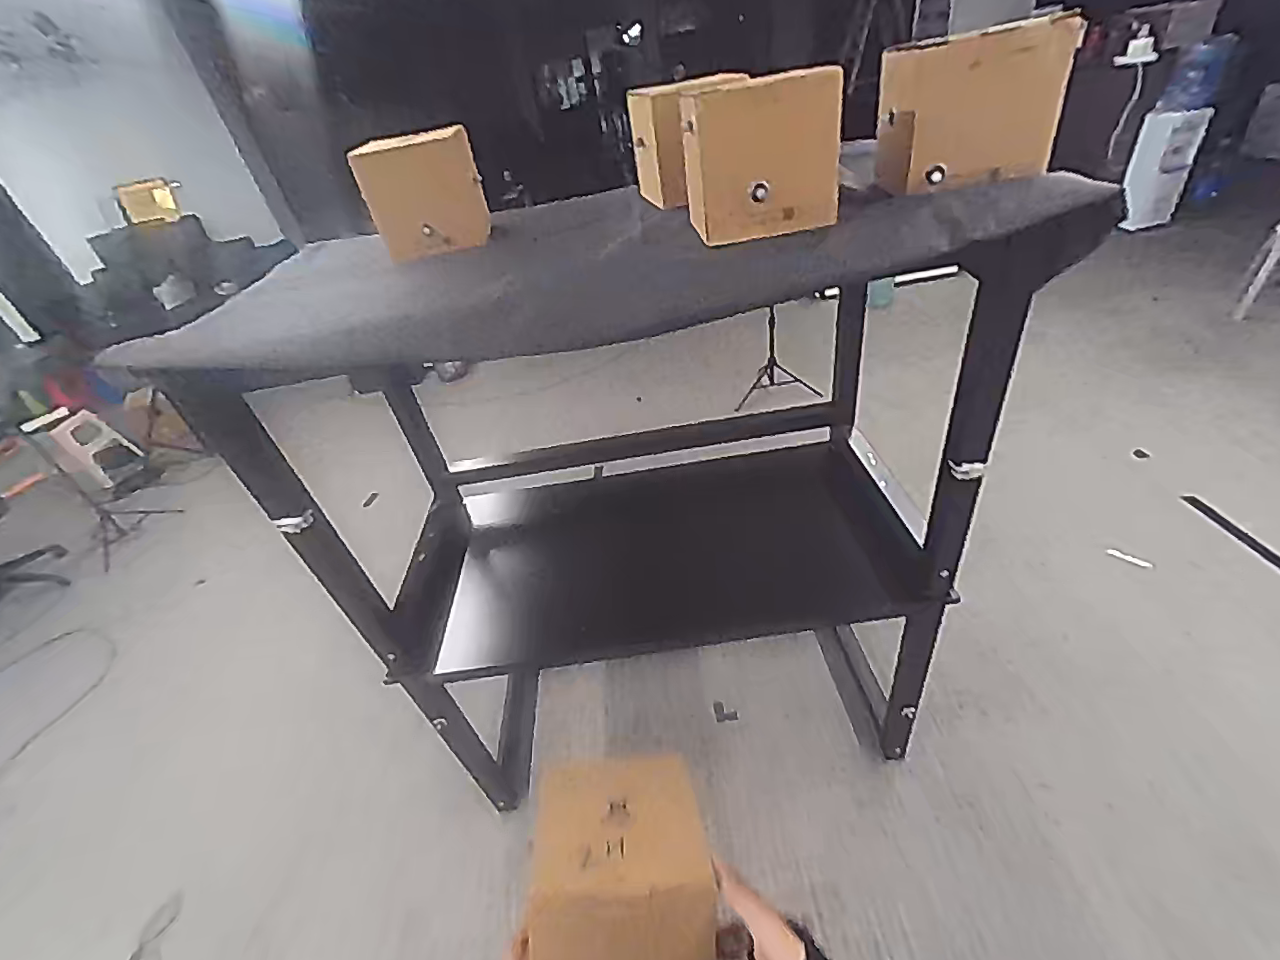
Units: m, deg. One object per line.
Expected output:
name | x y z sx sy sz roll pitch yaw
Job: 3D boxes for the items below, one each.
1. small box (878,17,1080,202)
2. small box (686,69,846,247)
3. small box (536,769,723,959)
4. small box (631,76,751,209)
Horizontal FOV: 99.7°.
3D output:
small box | 0.426 -0.480 0.716 0.168 0.176 0.179 -4 36 10
small box | 0.156 -0.420 0.713 0.168 0.176 0.179 -9 36 3
small box | -0.016 0.432 0.557 0.168 0.176 0.179 -1 7 -5
small box | 0.090 -0.590 0.952 0.168 0.176 0.179 -15 37 -5
